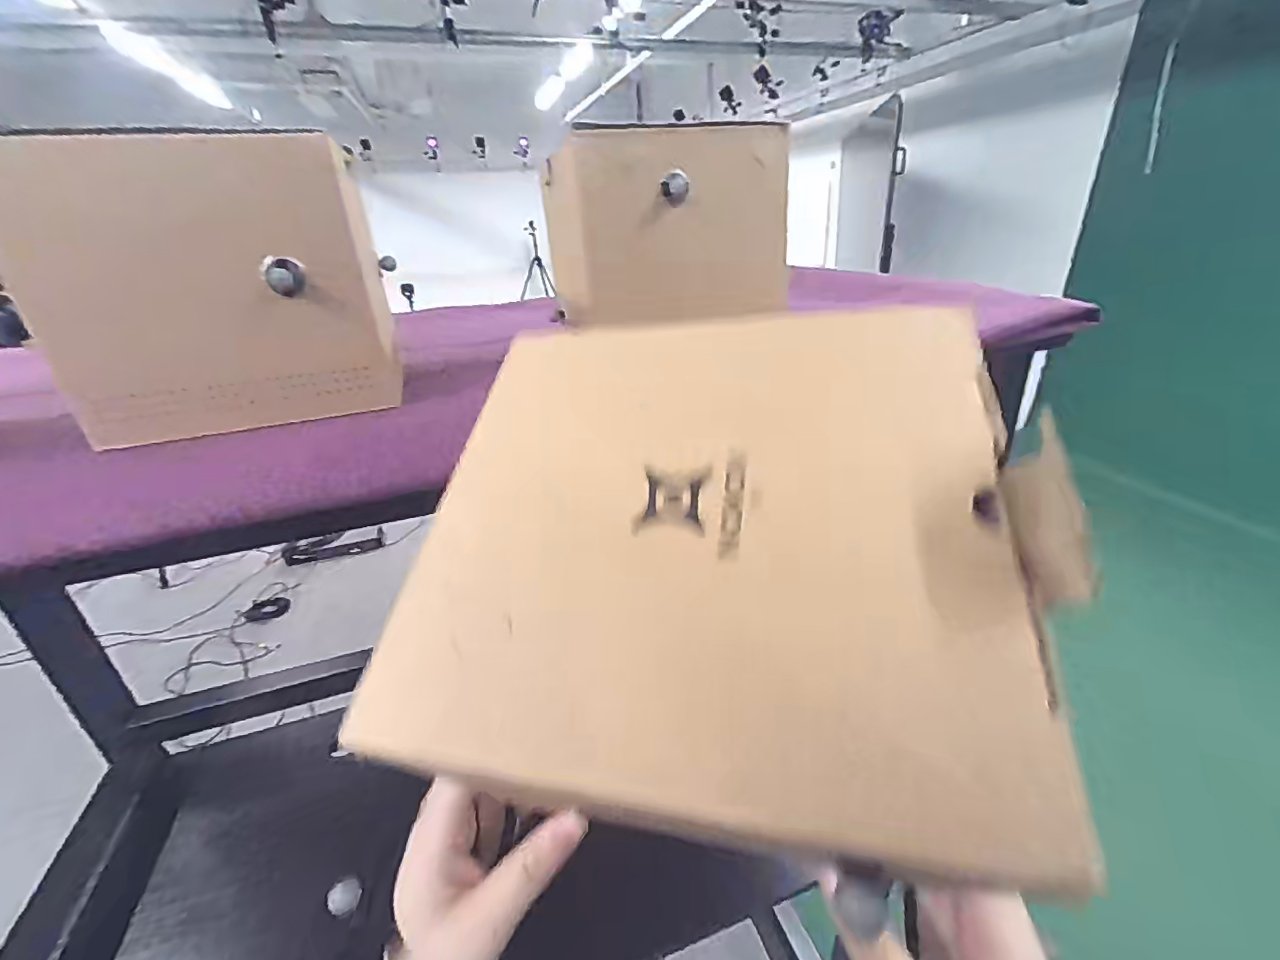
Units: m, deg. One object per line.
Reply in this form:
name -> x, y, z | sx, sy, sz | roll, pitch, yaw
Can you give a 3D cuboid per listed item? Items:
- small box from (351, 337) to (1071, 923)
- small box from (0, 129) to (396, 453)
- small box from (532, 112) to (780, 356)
small box -> 0.033, 0.063, 0.232 | 0.179, 0.176, 0.168 | 1, 56, 17
small box -> -0.283, -0.135, 0.380 | 0.179, 0.176, 0.168 | -14, 27, -17
small box -> 0.011, -0.213, 0.492 | 0.179, 0.176, 0.168 | -11, 25, -15
